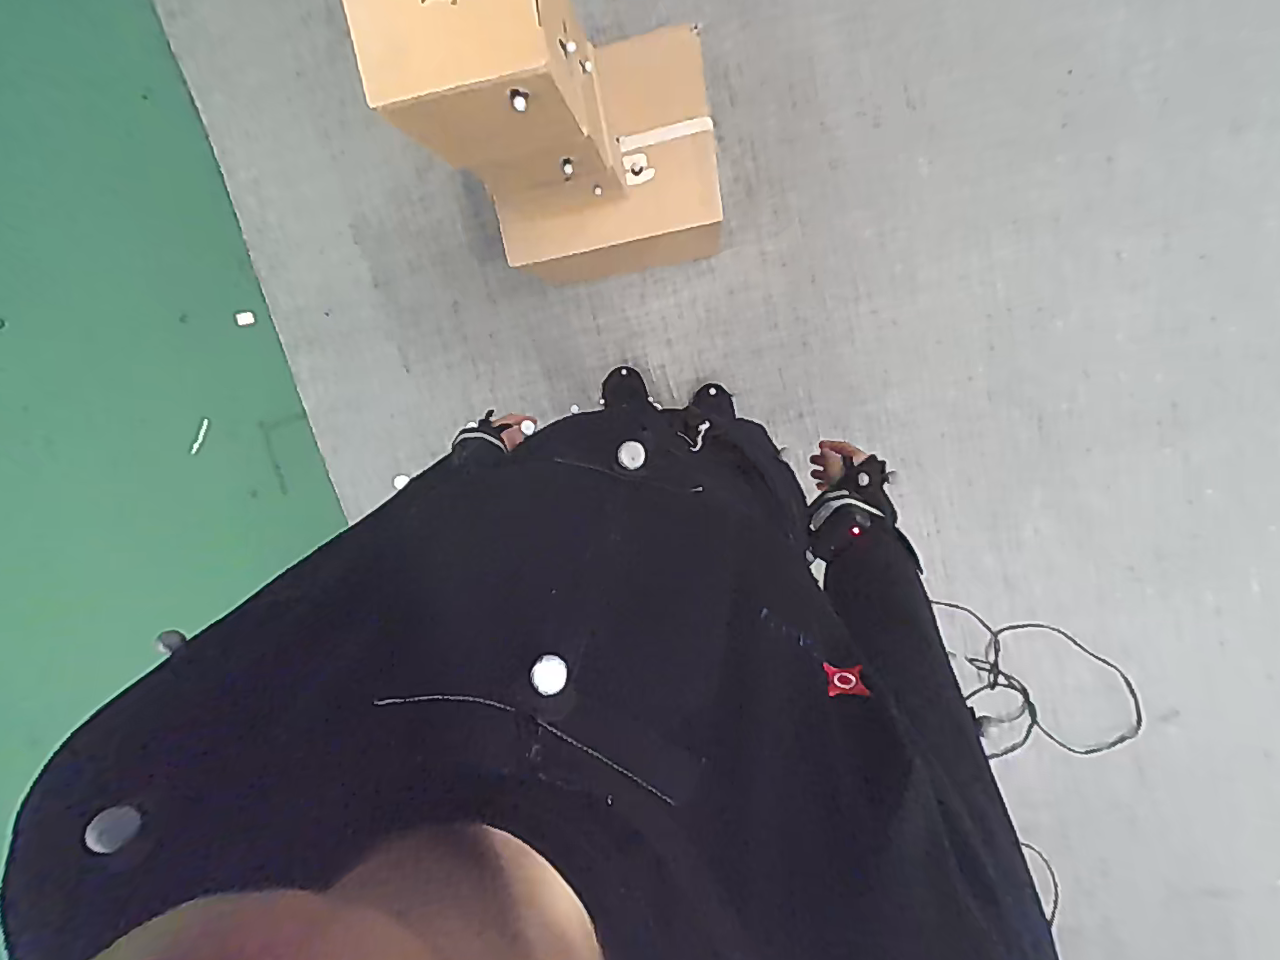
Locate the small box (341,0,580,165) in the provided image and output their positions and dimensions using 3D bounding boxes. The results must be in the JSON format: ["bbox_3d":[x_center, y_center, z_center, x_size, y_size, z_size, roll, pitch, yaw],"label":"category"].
[{"bbox_3d":[-0.173,-0.446,0.548,0.179,0.176,0.168,-9,102,6],"label":"small box"}]

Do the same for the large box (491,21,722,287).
[{"bbox_3d":[-0.065,-0.605,1.087,0.408,0.320,0.320,-9,103,8],"label":"large box"}]

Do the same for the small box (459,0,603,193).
[{"bbox_3d":[-0.152,-0.495,0.702,0.168,0.176,0.179,-10,101,7],"label":"small box"}]
